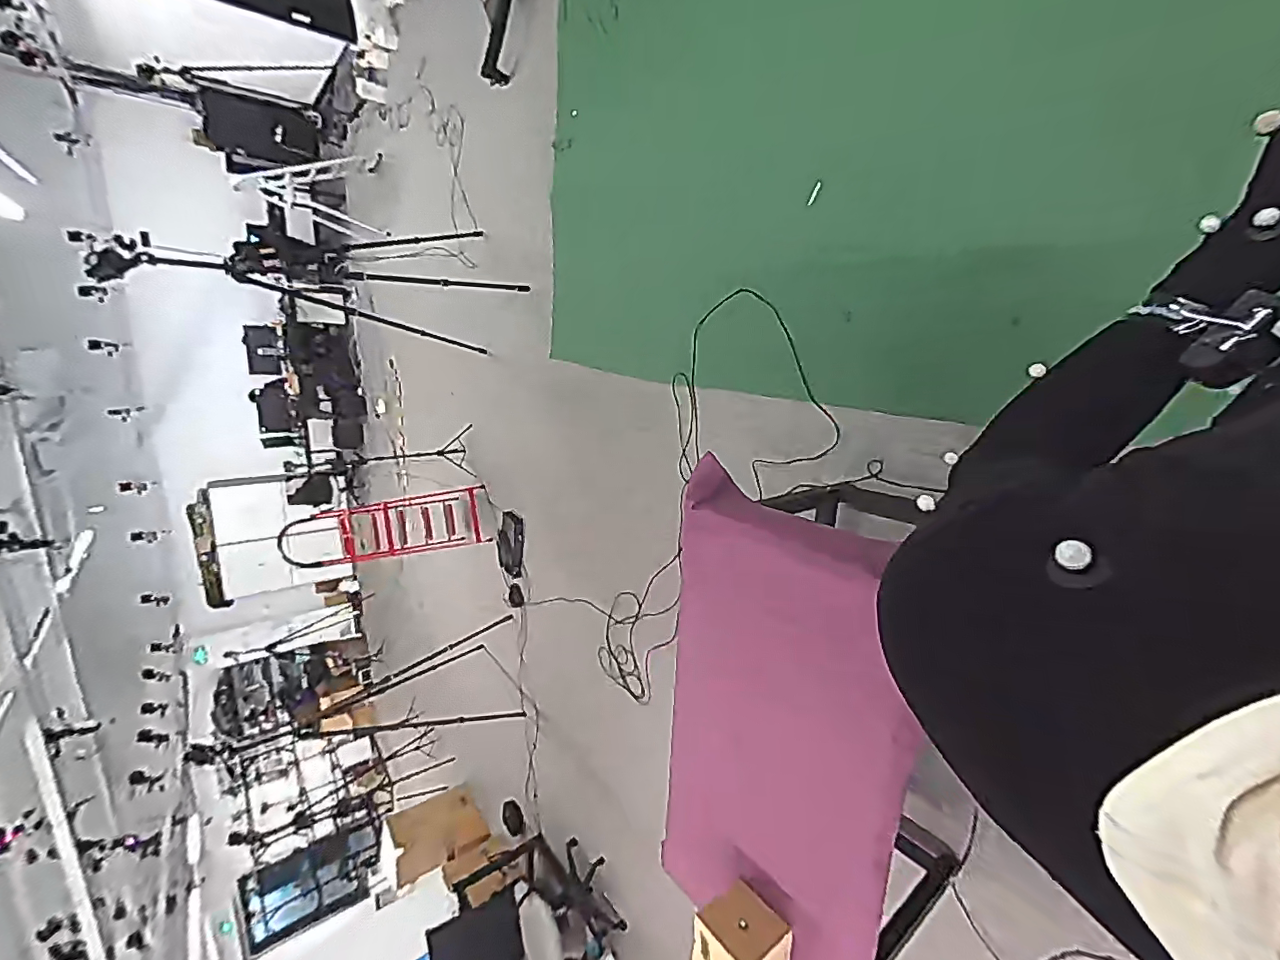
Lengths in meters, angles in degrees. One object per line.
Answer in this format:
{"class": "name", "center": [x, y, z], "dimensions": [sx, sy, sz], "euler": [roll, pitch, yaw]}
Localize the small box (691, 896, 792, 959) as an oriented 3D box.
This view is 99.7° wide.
{"class": "small box", "center": [0.243, 1.169, 1.315], "dimensions": [0.179, 0.176, 0.168], "euler": [15, 109, 48]}
